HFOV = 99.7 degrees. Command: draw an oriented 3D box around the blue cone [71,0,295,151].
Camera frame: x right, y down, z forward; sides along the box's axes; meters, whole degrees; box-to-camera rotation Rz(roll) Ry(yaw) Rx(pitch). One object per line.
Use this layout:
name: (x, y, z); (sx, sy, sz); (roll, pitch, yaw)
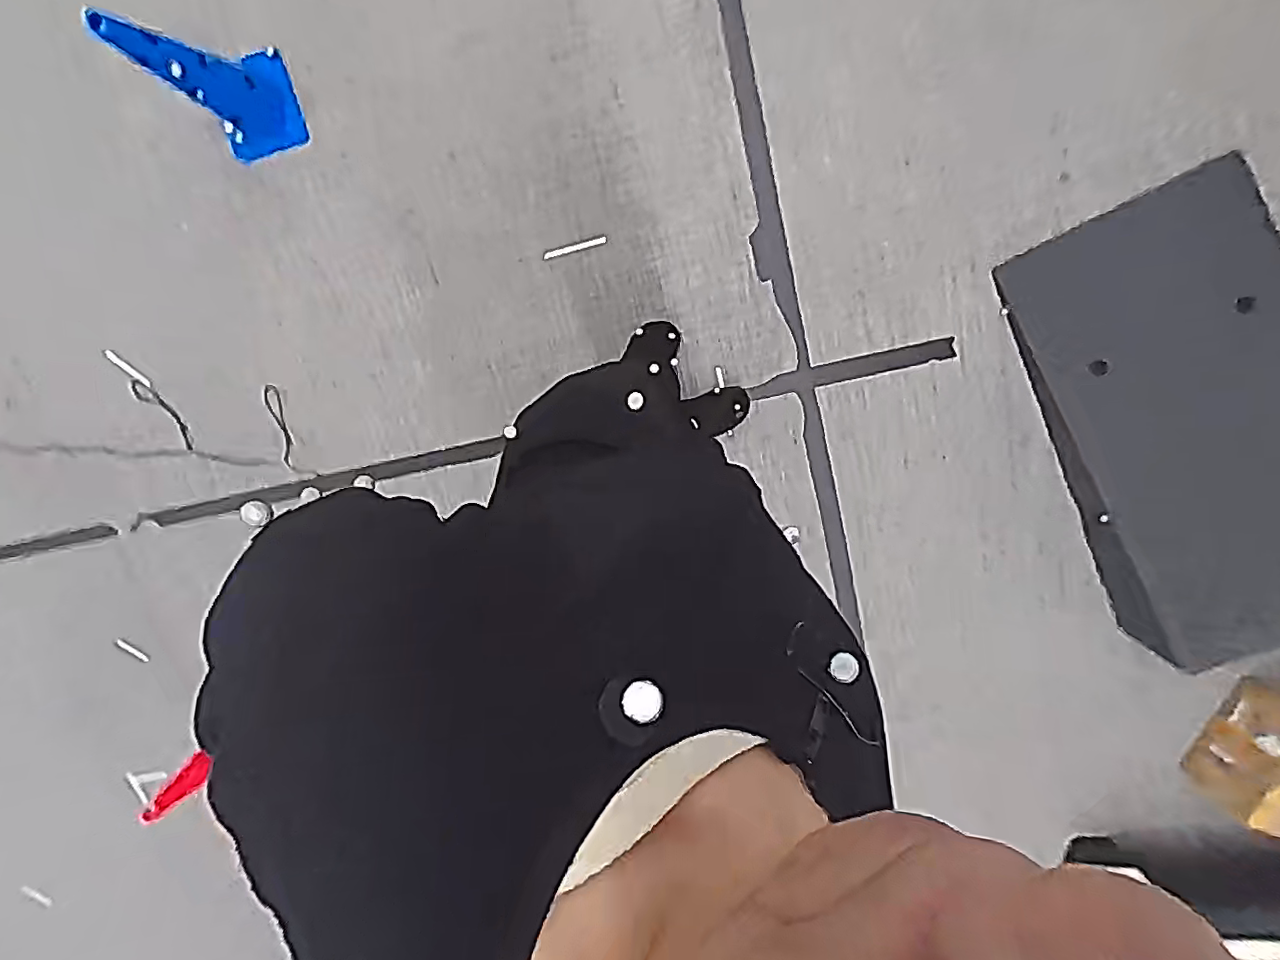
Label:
blue cone: (-0.908, -0.828, 1.075); (0.193, 0.380, 0.192); (-11, 103, 8)
